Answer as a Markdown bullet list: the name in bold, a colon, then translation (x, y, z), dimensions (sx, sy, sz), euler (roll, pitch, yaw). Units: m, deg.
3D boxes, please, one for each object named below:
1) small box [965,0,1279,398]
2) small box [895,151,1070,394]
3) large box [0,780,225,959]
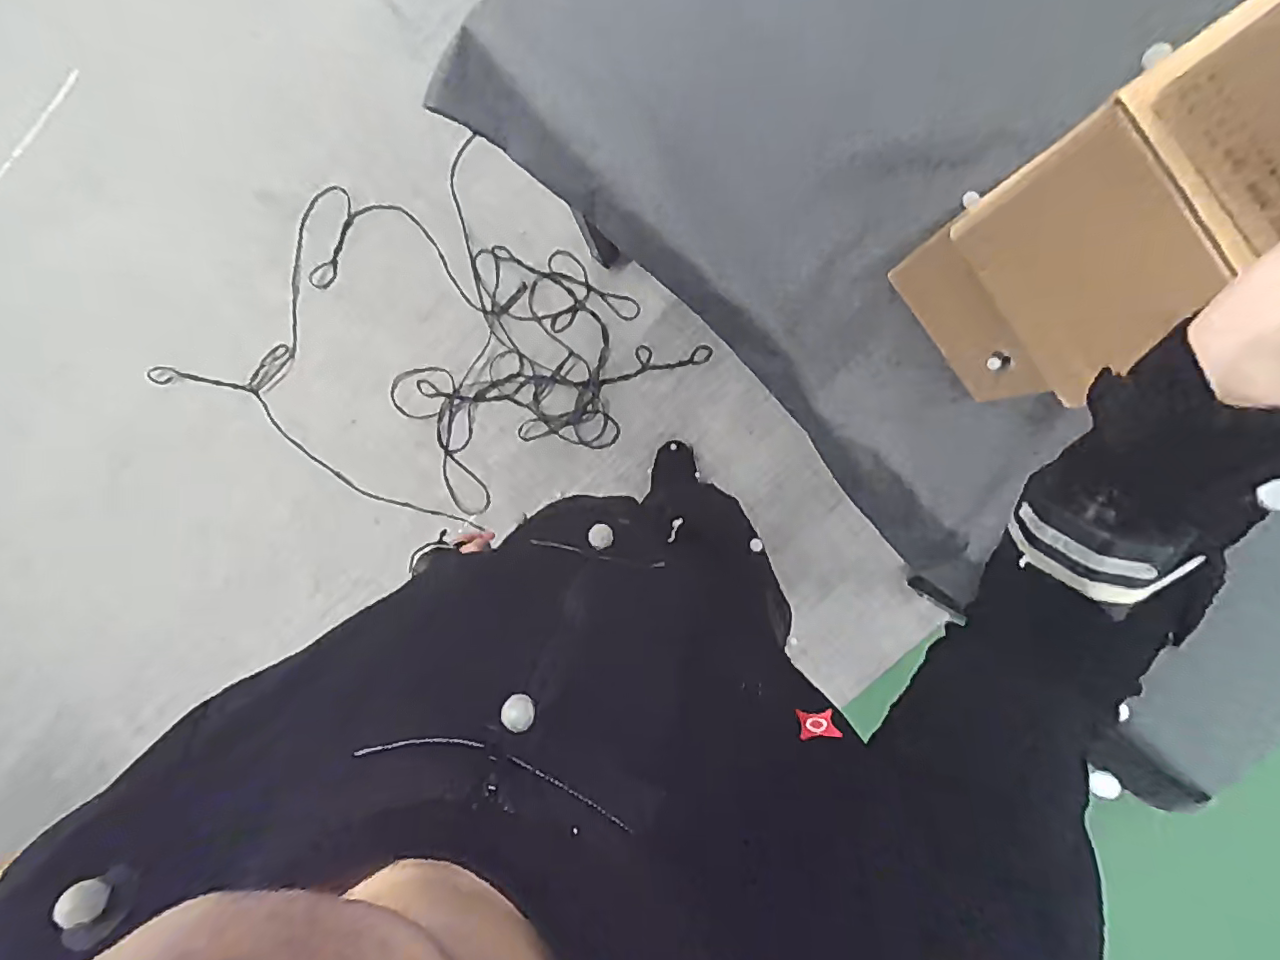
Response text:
- **small box**: translation (0.359, -0.170, 0.348), dimensions (0.168, 0.176, 0.179), euler (-35, 92, 4)
- **small box**: translation (0.384, -0.195, 0.508), dimensions (0.168, 0.176, 0.179), euler (-36, 90, 4)
- **large box**: translation (-1.409, 1.088, 1.383), dimensions (0.320, 0.320, 0.408), euler (-45, 89, 5)
